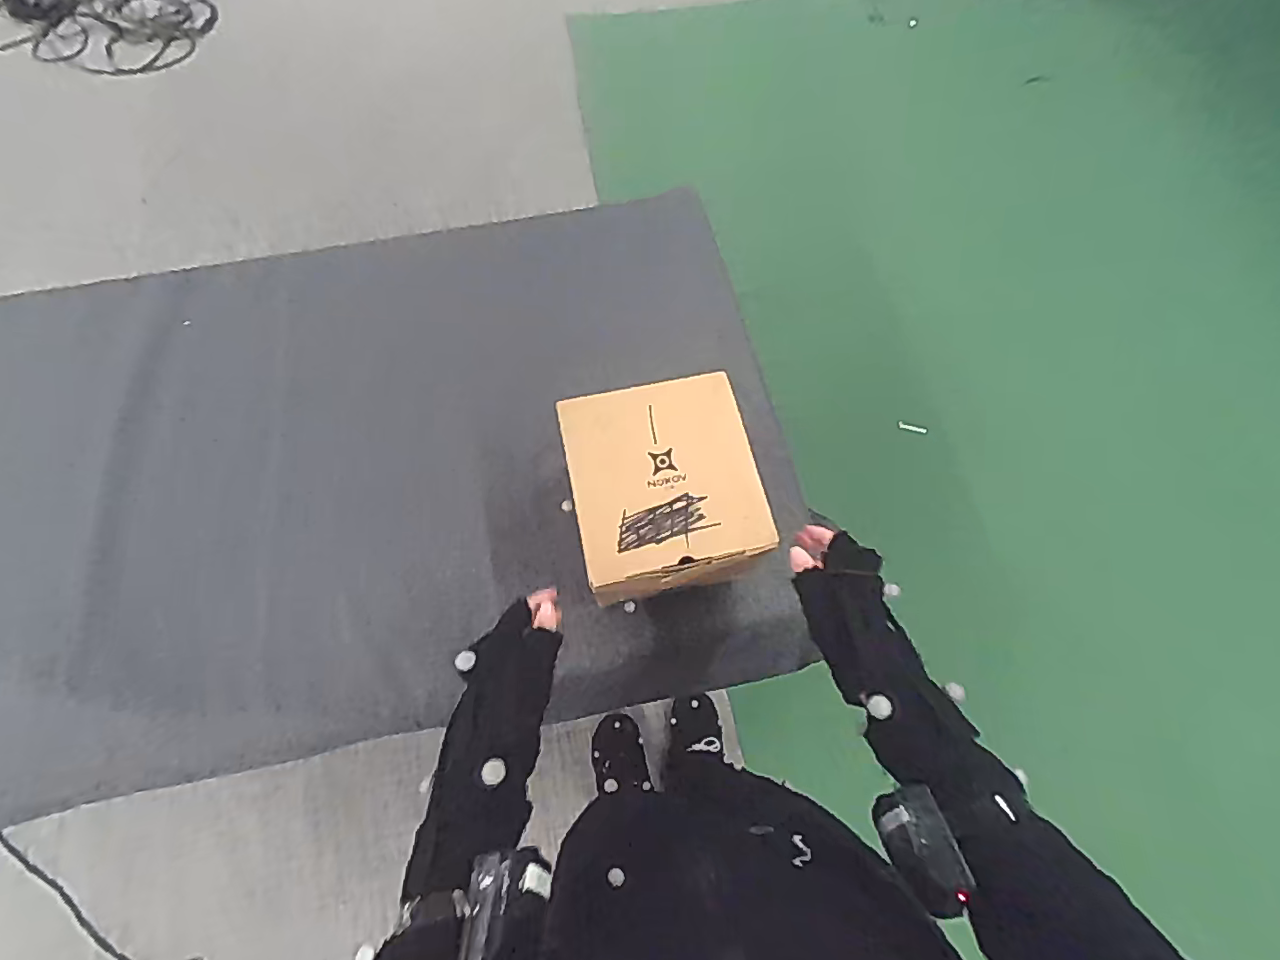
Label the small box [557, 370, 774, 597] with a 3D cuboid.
[{"bbox_3d":[0.018,0.016,0.554,0.168,0.176,0.179,-11,71,-6],"label":"small box"}]
